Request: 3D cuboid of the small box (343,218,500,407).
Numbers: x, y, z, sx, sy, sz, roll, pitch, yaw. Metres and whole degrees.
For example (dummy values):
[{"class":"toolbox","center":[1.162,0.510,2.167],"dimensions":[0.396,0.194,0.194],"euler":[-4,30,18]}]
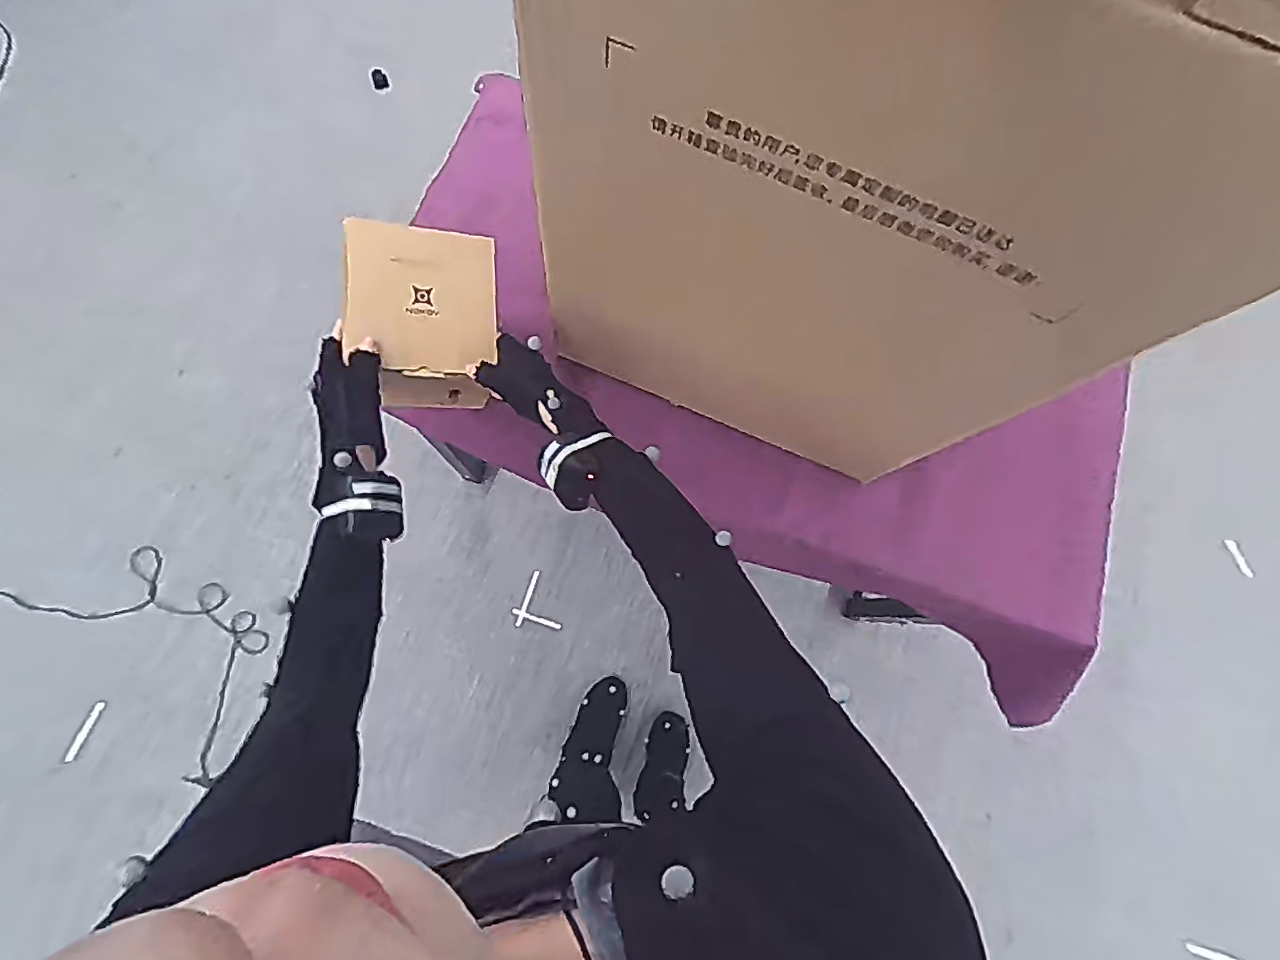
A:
[{"class":"small box","center":[-0.274,-0.195,0.687],"dimensions":[0.168,0.176,0.179],"euler":[-2,84,-23]}]
